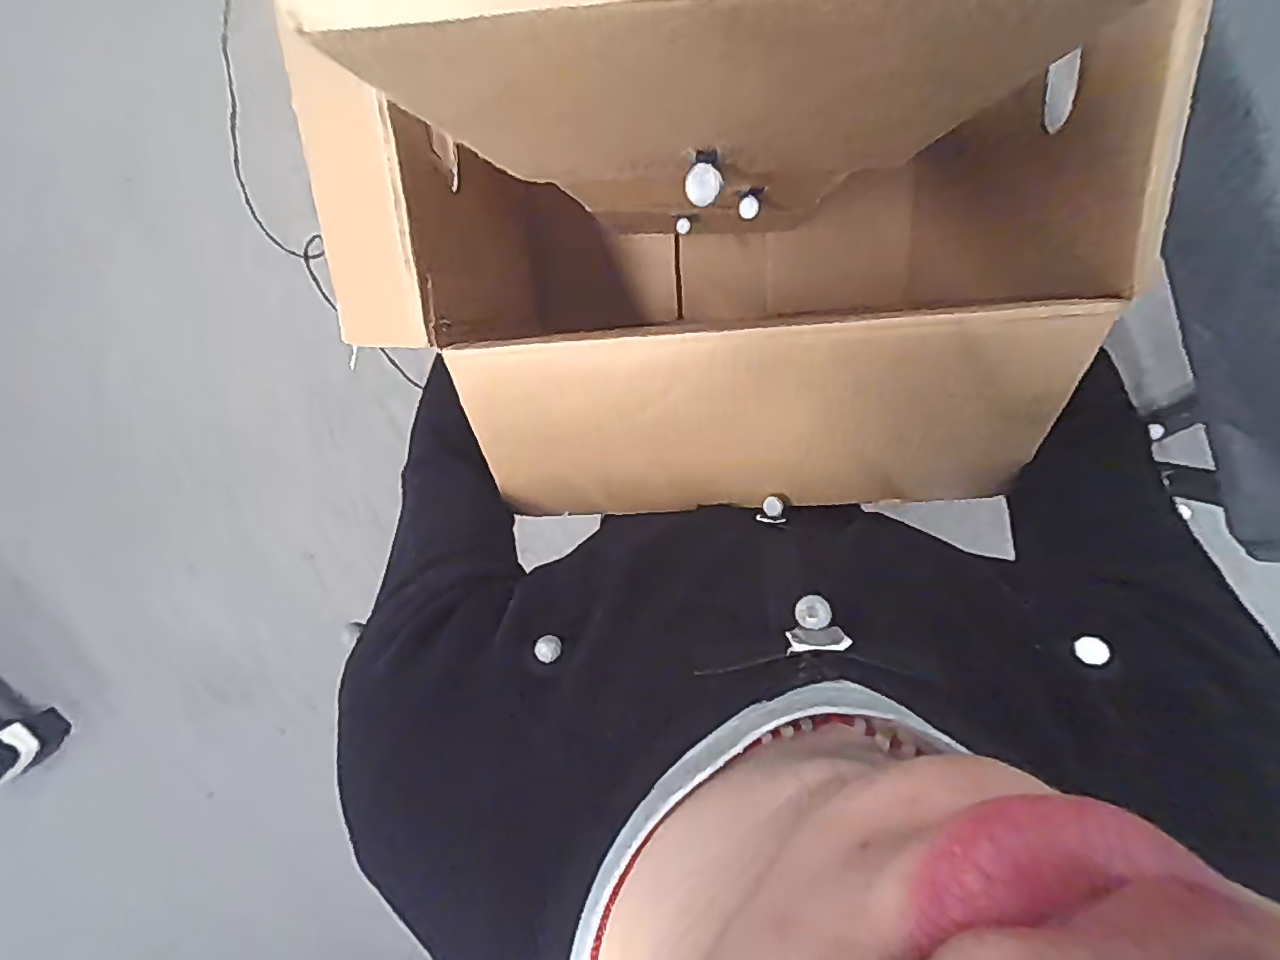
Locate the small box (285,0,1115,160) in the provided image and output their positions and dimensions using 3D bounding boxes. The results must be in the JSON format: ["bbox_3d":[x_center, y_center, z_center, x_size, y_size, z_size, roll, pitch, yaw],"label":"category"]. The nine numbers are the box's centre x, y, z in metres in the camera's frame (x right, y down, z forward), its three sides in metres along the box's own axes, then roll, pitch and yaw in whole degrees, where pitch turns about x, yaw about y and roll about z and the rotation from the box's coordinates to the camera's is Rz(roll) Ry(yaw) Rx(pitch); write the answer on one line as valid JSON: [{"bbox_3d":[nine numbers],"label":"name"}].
[{"bbox_3d":[0.016,-0.196,0.142,0.179,0.176,0.168,1,110,5],"label":"small box"}]
